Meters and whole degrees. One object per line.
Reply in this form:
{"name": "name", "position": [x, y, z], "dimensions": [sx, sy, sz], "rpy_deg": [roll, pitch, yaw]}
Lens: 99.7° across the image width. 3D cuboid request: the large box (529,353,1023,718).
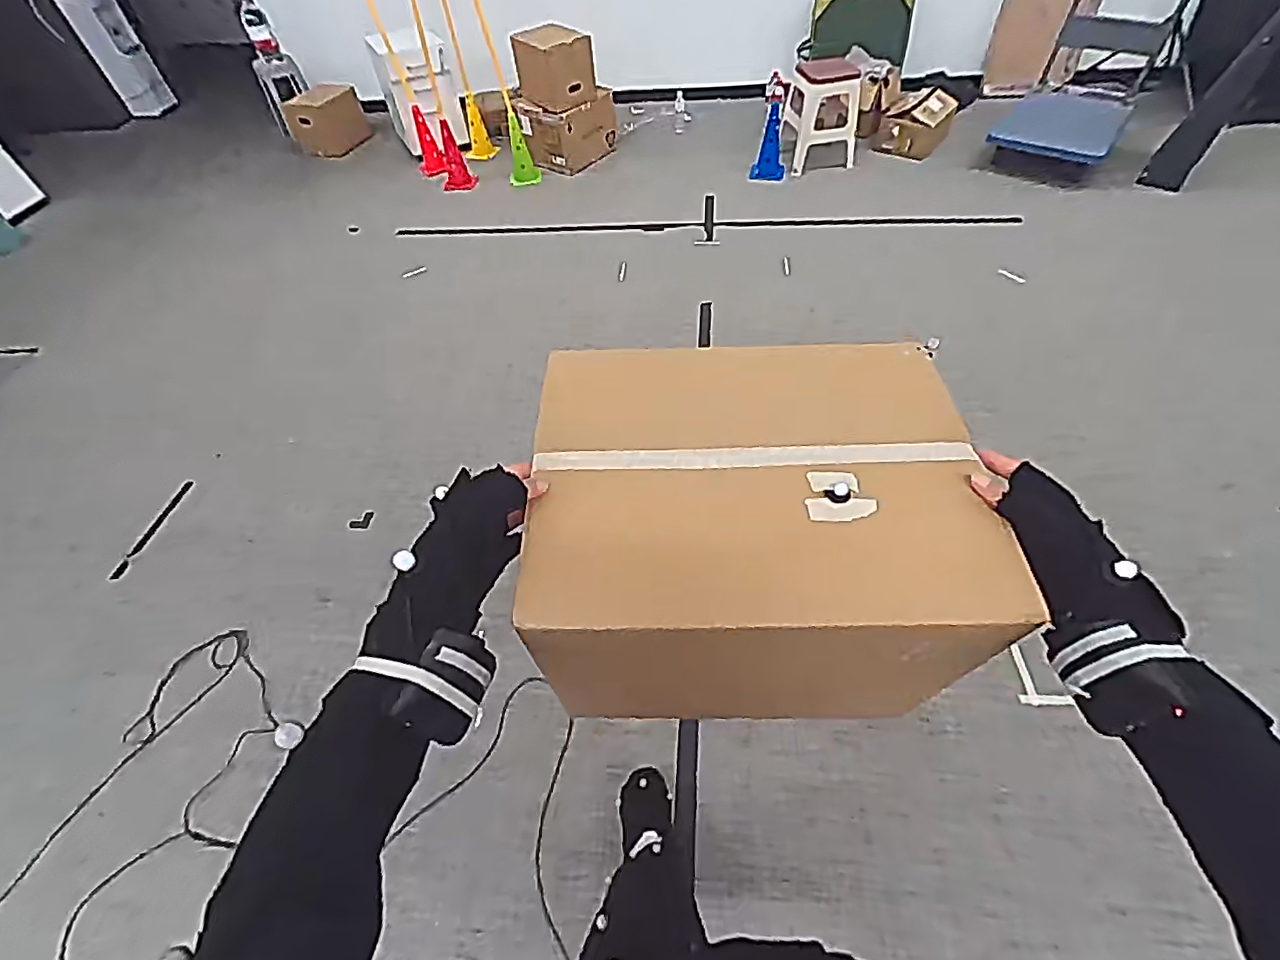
{"name": "large box", "position": [0.107, 0.076, 0.634], "dimensions": [0.408, 0.320, 0.320], "rpy_deg": [-1, 55, 1]}
